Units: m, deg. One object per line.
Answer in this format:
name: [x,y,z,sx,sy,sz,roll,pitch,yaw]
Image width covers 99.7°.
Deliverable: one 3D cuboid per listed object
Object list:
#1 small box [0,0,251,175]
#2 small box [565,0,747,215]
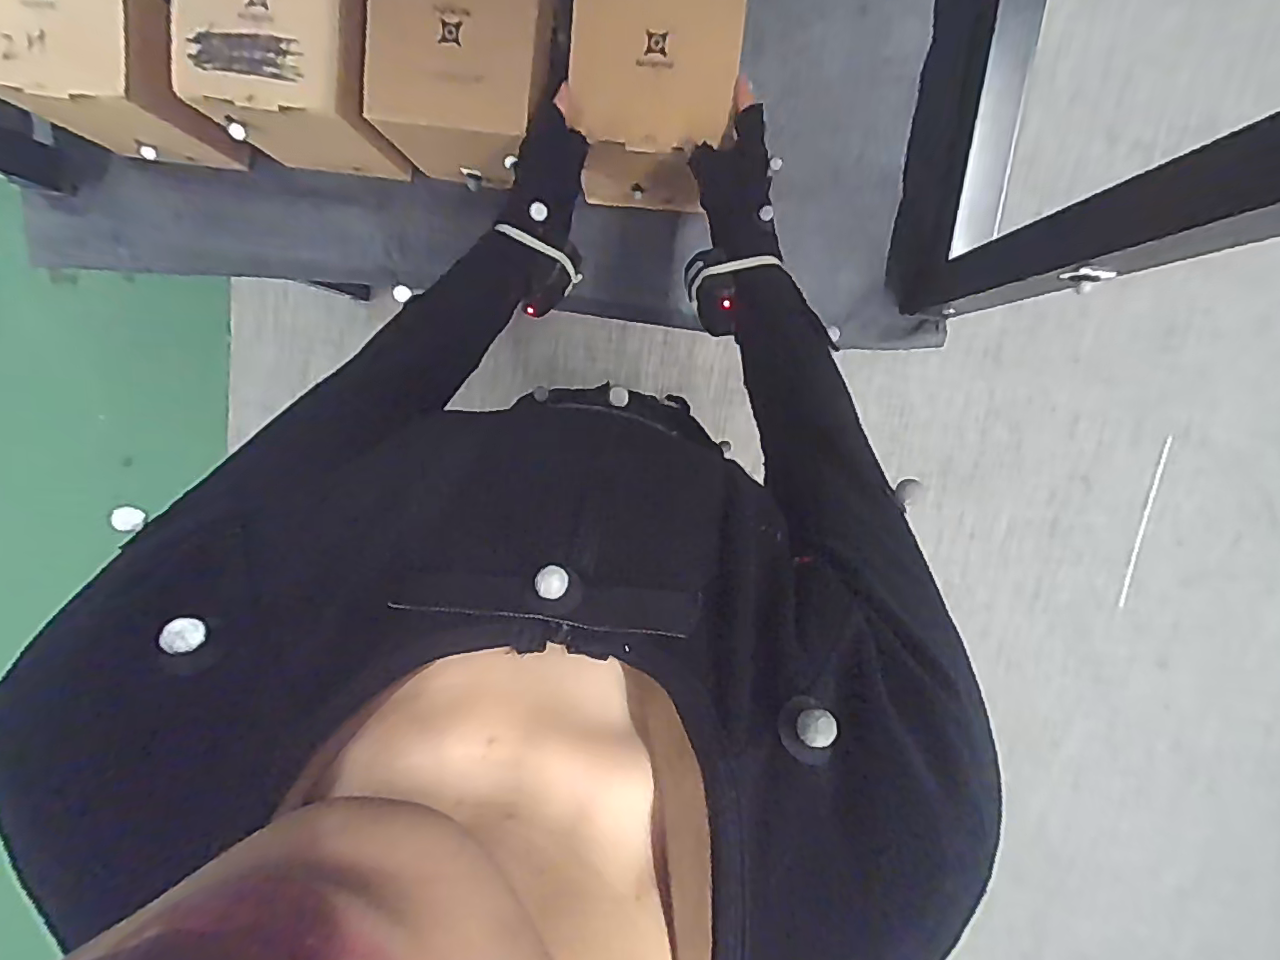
small box: [-0.569,-0.472,0.597,0.168,0.176,0.179,7,99,0]
small box: [0.017,-0.420,0.598,0.168,0.176,0.179,5,99,1]
